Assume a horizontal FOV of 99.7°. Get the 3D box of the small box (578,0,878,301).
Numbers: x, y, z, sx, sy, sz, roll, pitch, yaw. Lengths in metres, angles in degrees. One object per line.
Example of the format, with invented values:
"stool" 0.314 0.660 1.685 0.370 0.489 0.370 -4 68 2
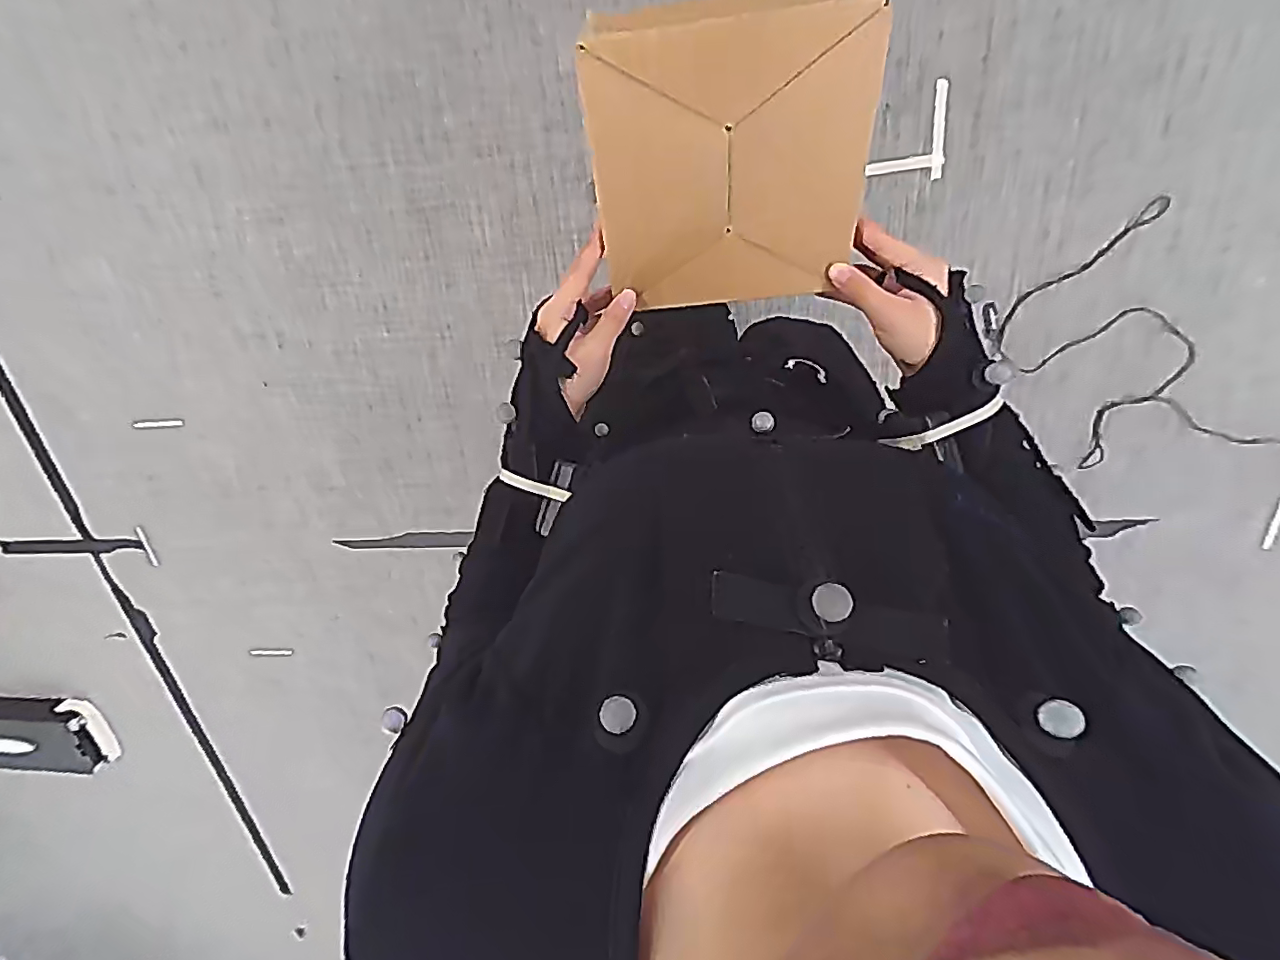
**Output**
"small box" 0.053 -0.254 0.411 0.179 0.176 0.168 -4 135 4
